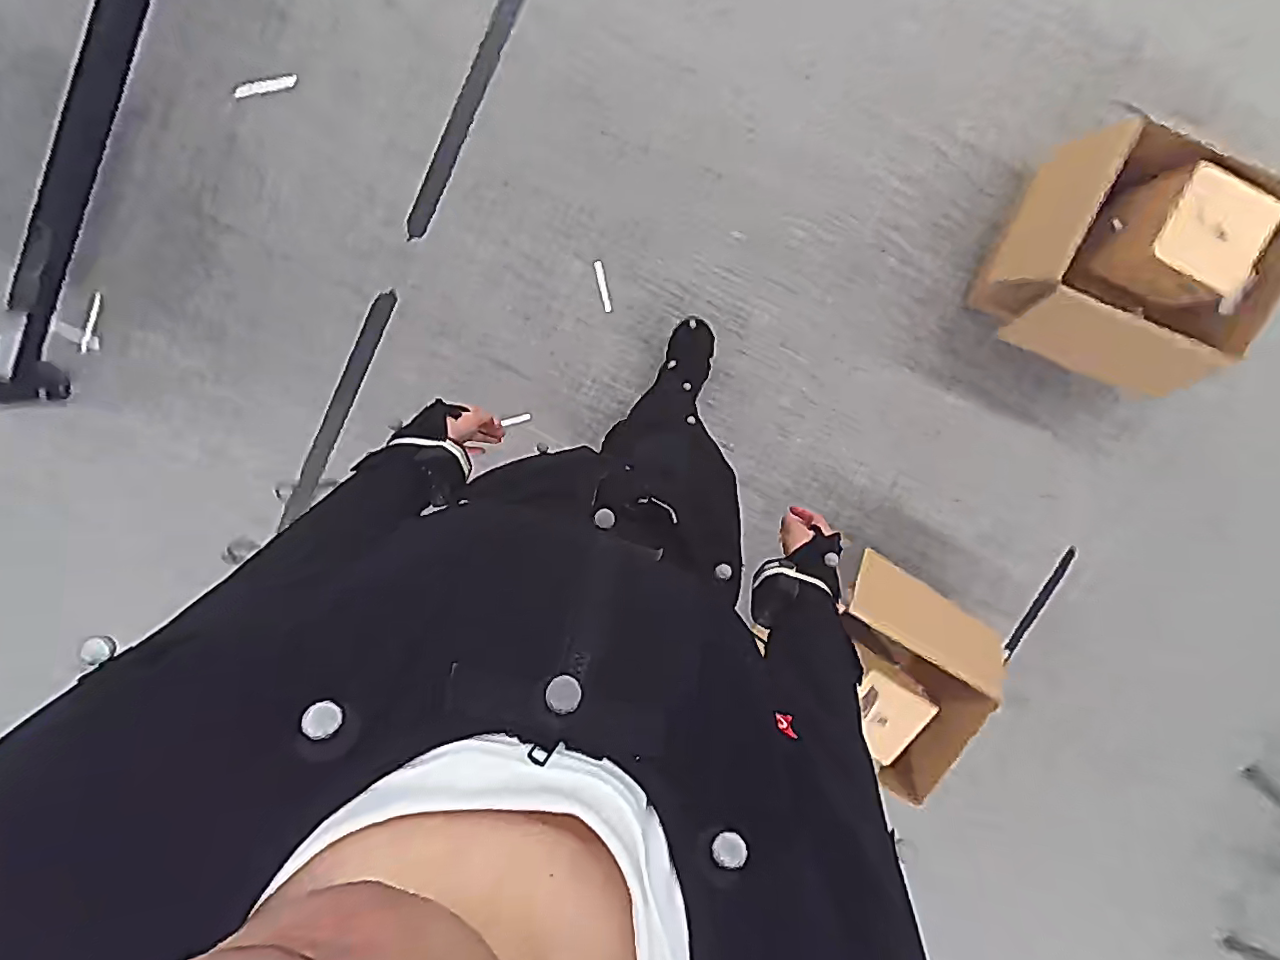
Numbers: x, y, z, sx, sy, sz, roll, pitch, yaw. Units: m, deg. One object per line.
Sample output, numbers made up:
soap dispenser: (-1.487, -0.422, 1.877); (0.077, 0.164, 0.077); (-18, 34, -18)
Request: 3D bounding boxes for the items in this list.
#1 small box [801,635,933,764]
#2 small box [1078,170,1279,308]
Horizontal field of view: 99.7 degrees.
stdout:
small box: (0.487, 0.472, 1.192); (0.179, 0.176, 0.168); (33, 101, -8)
small box: (1.009, -0.443, 1.030); (0.179, 0.176, 0.168); (25, 99, -4)
